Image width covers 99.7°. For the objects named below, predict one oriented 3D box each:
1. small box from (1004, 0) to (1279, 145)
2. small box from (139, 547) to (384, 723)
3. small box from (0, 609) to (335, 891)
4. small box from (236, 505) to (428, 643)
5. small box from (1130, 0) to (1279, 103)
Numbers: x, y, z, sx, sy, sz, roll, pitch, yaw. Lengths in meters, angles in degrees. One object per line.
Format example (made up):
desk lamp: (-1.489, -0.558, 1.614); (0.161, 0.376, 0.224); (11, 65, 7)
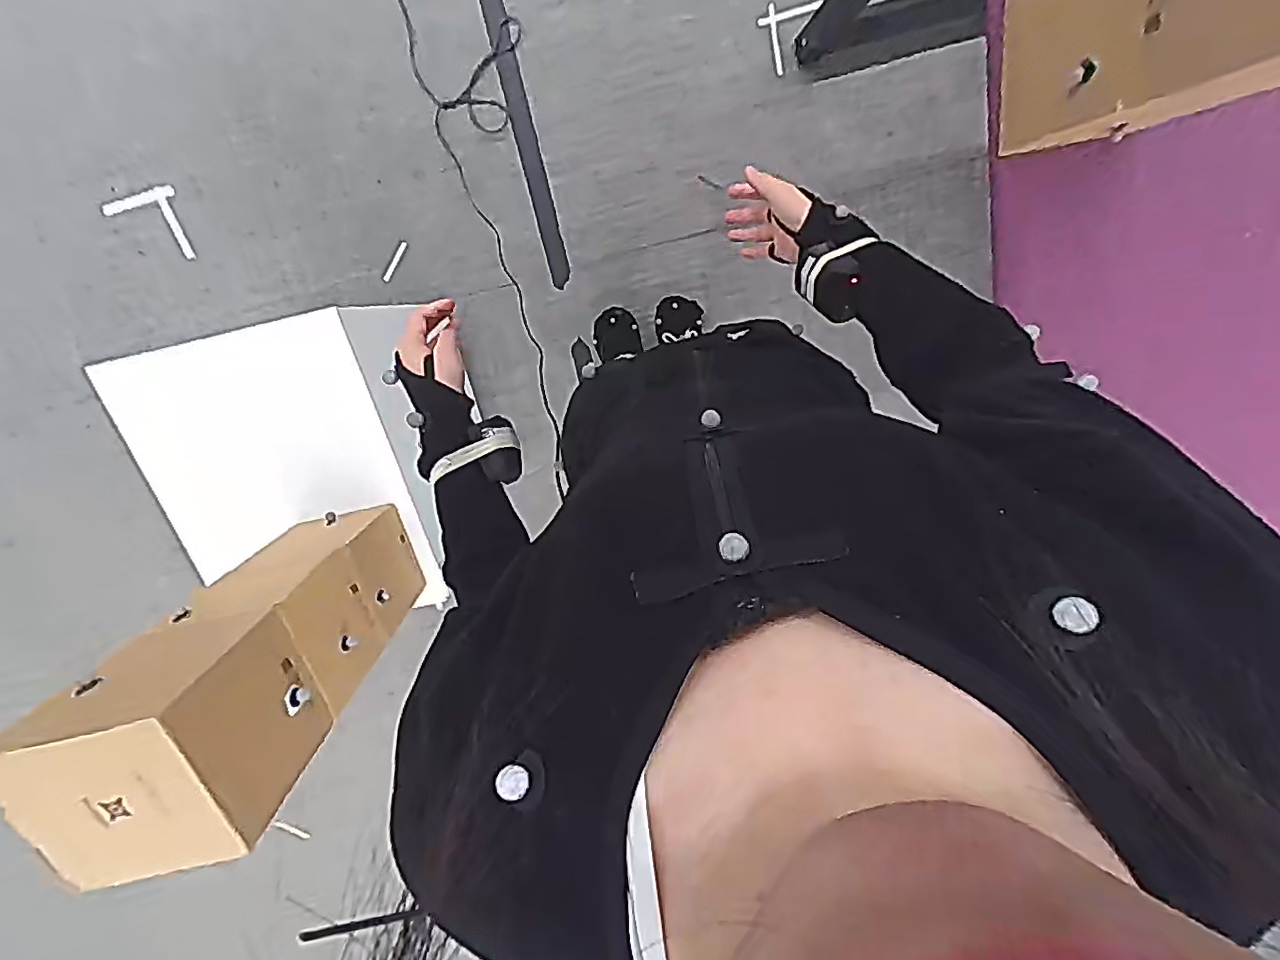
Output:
small box: (0.504, -0.460, 0.545); (0.168, 0.176, 0.179); (-10, 109, 0)
small box: (-0.460, 0.206, 0.698); (0.179, 0.176, 0.168); (-14, 109, 3)
small box: (-0.455, 0.257, 0.543); (0.179, 0.176, 0.168); (-15, 110, 2)
small box: (-0.468, 0.155, 0.852); (0.179, 0.176, 0.168); (-13, 108, 3)
small box: (0.521, -0.406, 0.391); (0.179, 0.176, 0.168); (-11, 109, 2)
